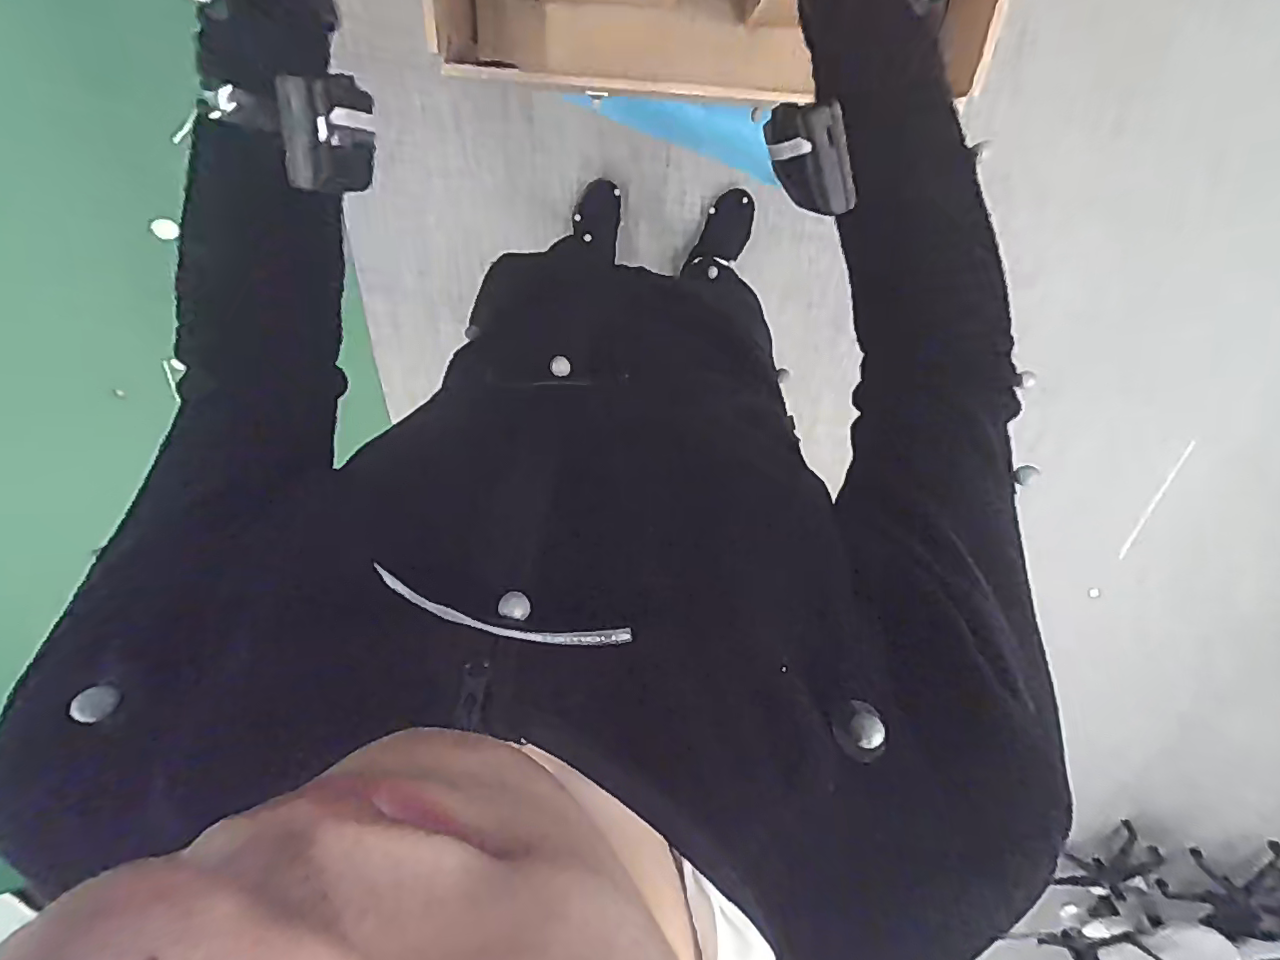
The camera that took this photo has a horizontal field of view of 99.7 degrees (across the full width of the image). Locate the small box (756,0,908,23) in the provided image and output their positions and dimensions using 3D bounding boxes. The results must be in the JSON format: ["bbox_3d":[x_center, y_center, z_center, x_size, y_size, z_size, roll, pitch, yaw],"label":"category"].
[{"bbox_3d":[0.220,-0.602,0.566,0.179,0.176,0.168,2,121,4],"label":"small box"}]

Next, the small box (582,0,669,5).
[{"bbox_3d":[-0.035,-0.628,0.566,0.179,0.176,0.168,2,120,-1],"label":"small box"}]
